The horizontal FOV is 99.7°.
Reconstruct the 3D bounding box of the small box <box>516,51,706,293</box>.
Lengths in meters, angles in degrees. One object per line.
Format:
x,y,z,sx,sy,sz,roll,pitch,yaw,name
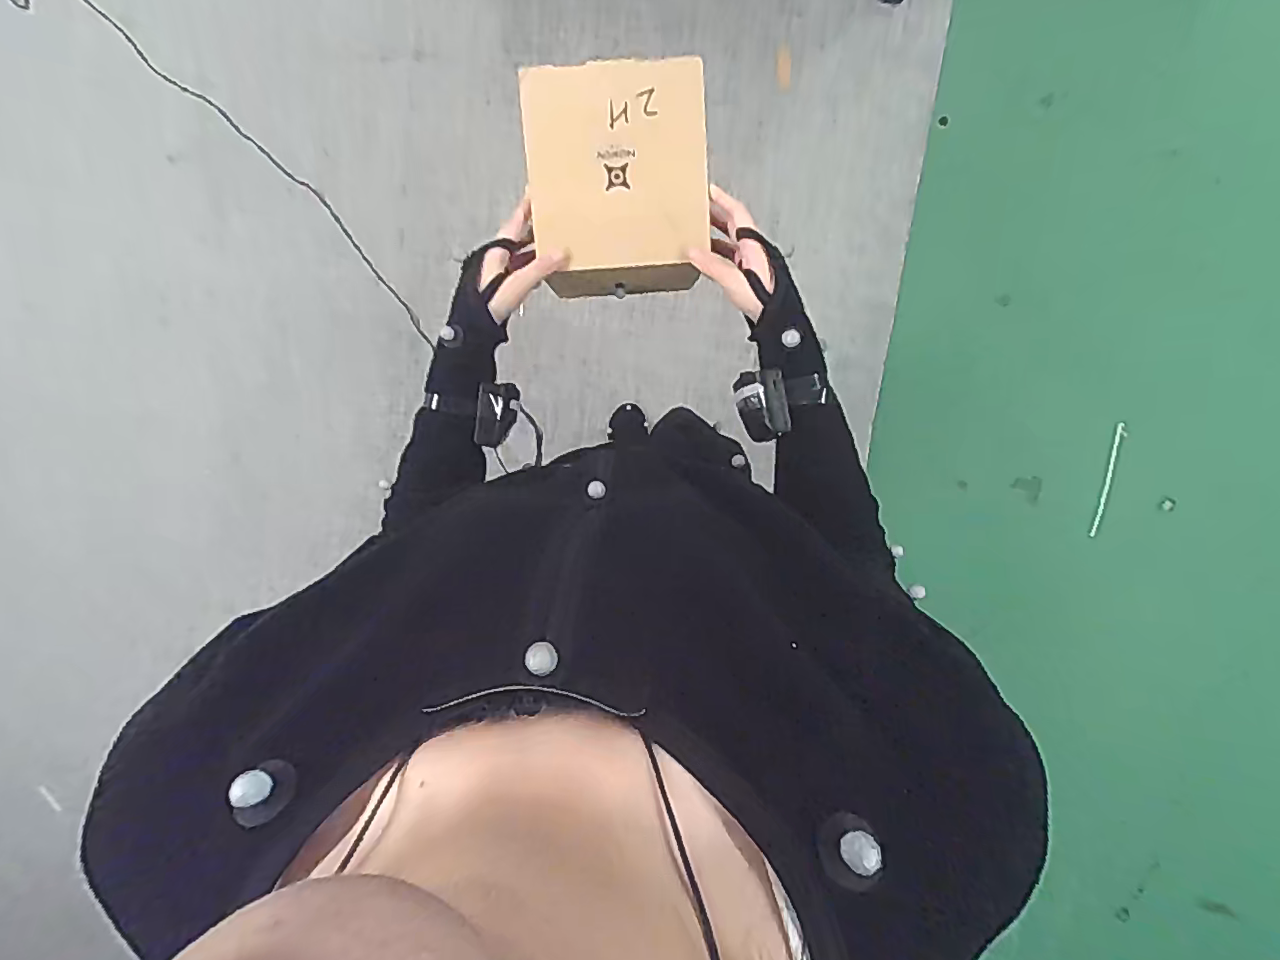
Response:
-0.024,-0.298,0.564,0.168,0.176,0.179,-4,99,0,small box
